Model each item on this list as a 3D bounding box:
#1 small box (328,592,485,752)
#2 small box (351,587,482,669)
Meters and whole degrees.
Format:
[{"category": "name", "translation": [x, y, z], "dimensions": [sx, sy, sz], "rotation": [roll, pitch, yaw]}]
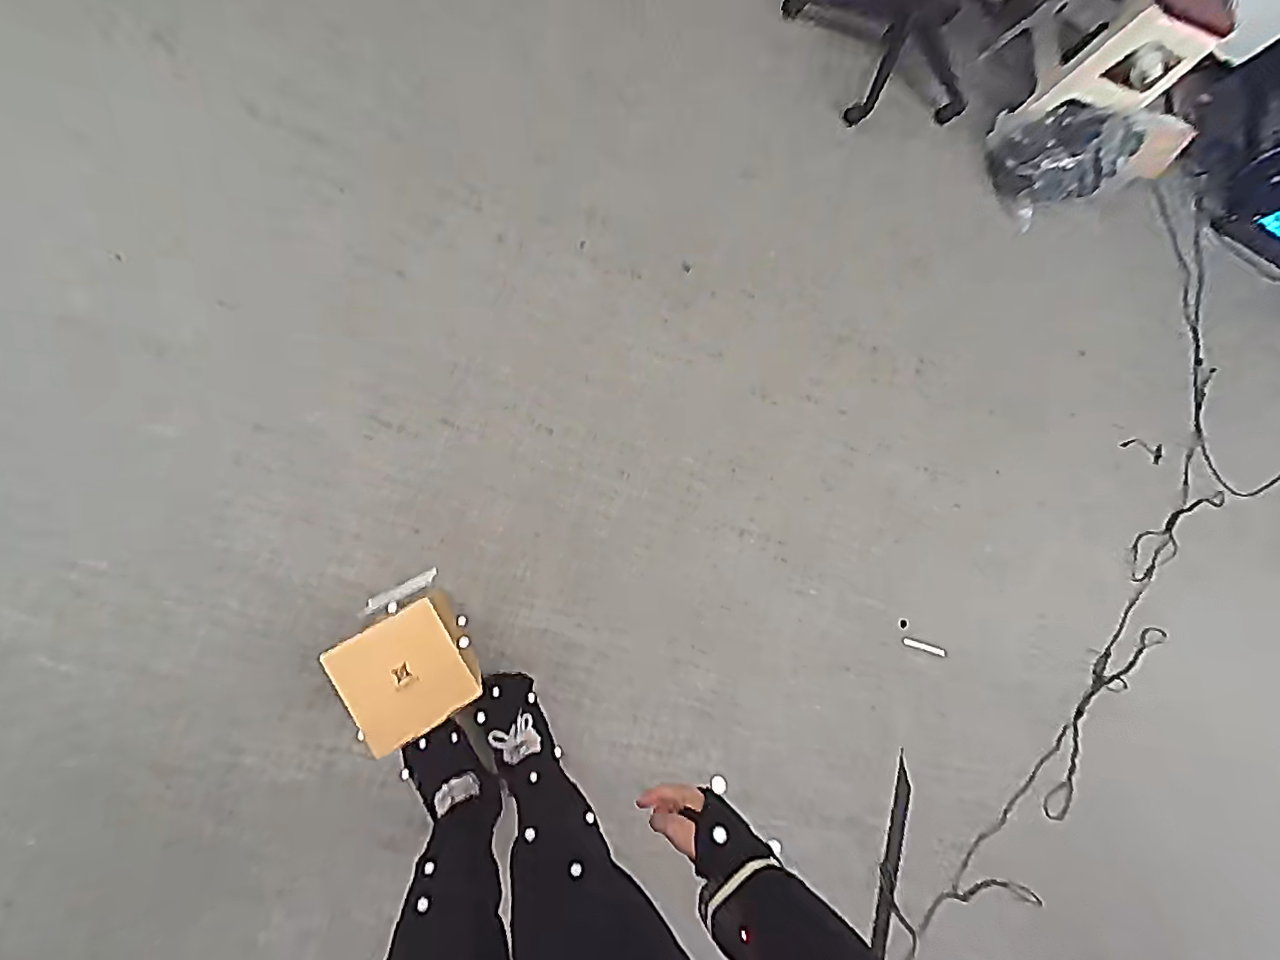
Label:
[{"category": "small box", "translation": [-0.373, 0.298, 0.885], "dimensions": [0.168, 0.176, 0.179], "rotation": [-30, 93, -19]}, {"category": "small box", "translation": [-0.421, 0.321, 1.039], "dimensions": [0.168, 0.176, 0.179], "rotation": [-30, 91, -19]}]
